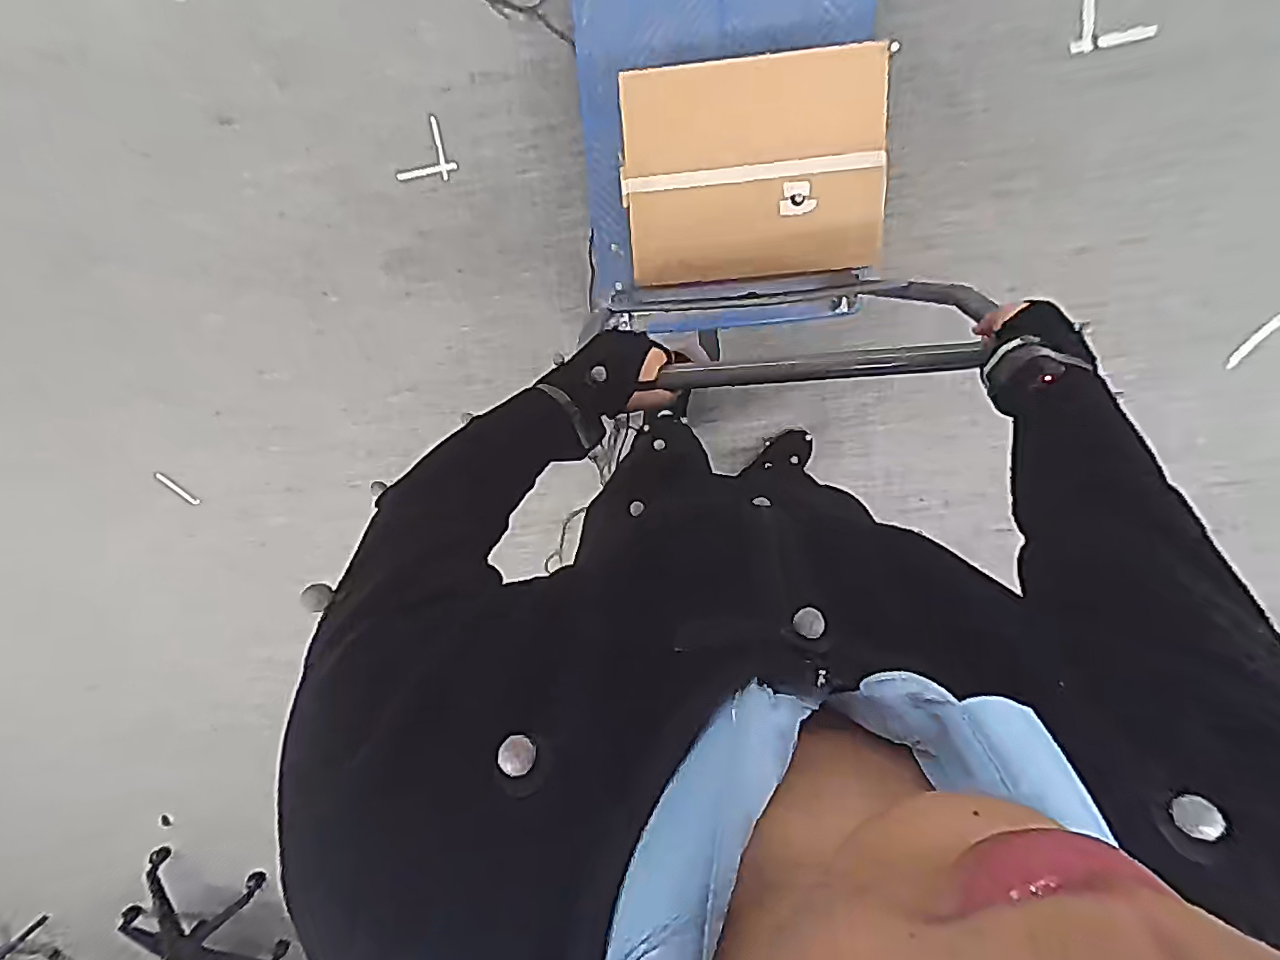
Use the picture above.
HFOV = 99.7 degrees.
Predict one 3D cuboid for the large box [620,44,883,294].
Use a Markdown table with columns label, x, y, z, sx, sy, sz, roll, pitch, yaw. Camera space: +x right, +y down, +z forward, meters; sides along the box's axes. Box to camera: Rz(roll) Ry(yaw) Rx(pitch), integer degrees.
| label | x | y | z | sx | sy | sz | roll | pitch | yaw |
| --- | --- | --- | --- | --- | --- | --- | --- | --- | --- |
| large box | 0.186 | -0.533 | 1.006 | 0.408 | 0.320 | 0.320 | -4 | 108 | 4 |
